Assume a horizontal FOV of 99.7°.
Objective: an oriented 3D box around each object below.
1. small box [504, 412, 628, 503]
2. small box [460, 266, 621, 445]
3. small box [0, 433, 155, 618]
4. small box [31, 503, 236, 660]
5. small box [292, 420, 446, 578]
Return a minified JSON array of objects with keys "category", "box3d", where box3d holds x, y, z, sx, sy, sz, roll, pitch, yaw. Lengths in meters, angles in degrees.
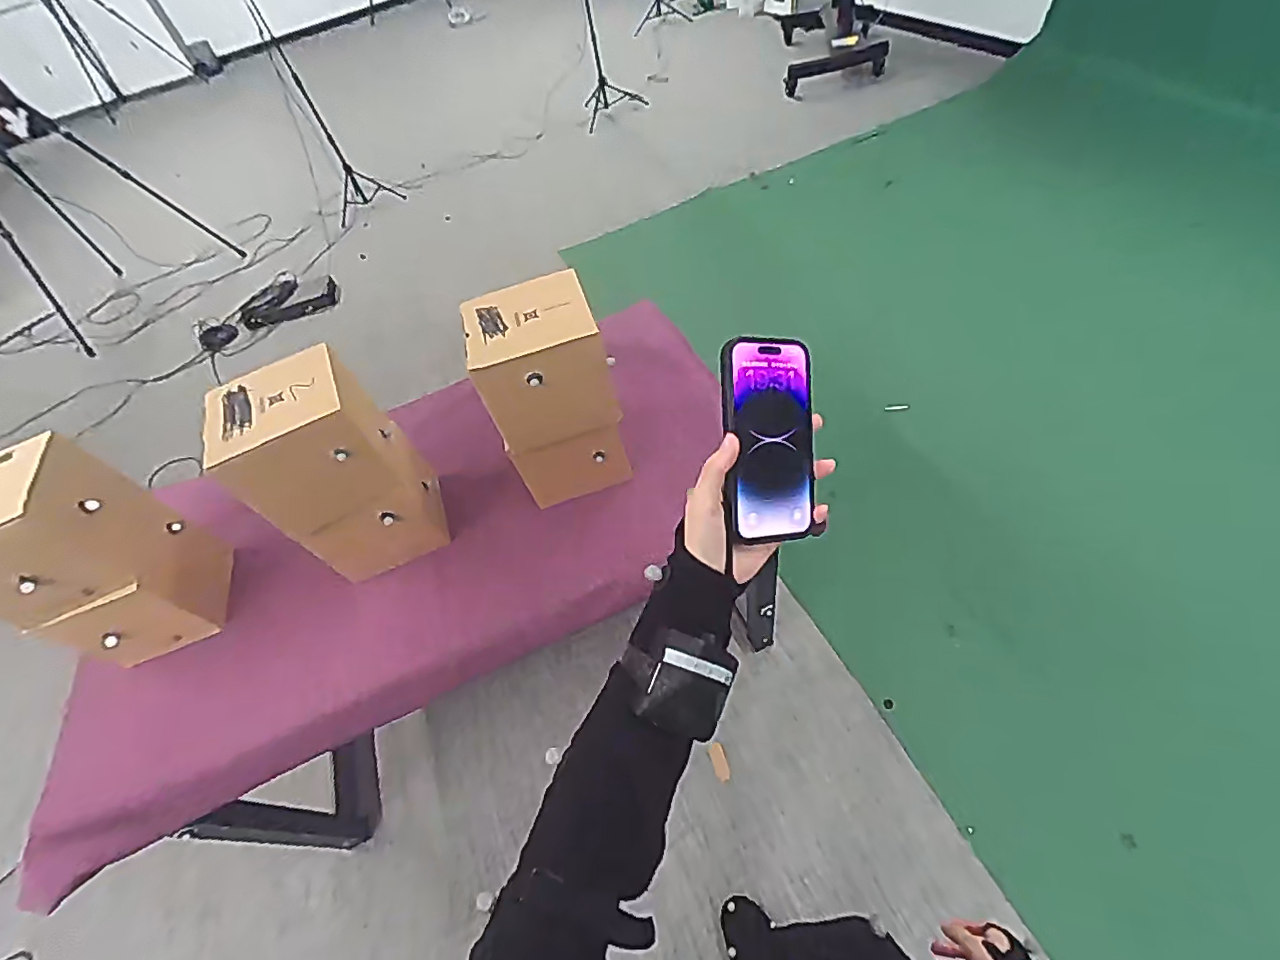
[{"category":"small box","box3d":[-0.127,-0.088,0.932,0.179,0.176,0.168,-19,52,0]},{"category":"small box","box3d":[-0.143,-0.177,0.794,0.179,0.176,0.168,-18,52,-2]},{"category":"small box","box3d":[-0.841,0.073,0.764,0.168,0.176,0.179,-27,53,-8]},{"category":"small box","box3d":[-0.808,0.176,0.889,0.168,0.176,0.179,-23,52,-5]},{"category":"small box","box3d":[-0.444,0.036,0.909,0.179,0.176,0.168,-23,52,-5]}]
